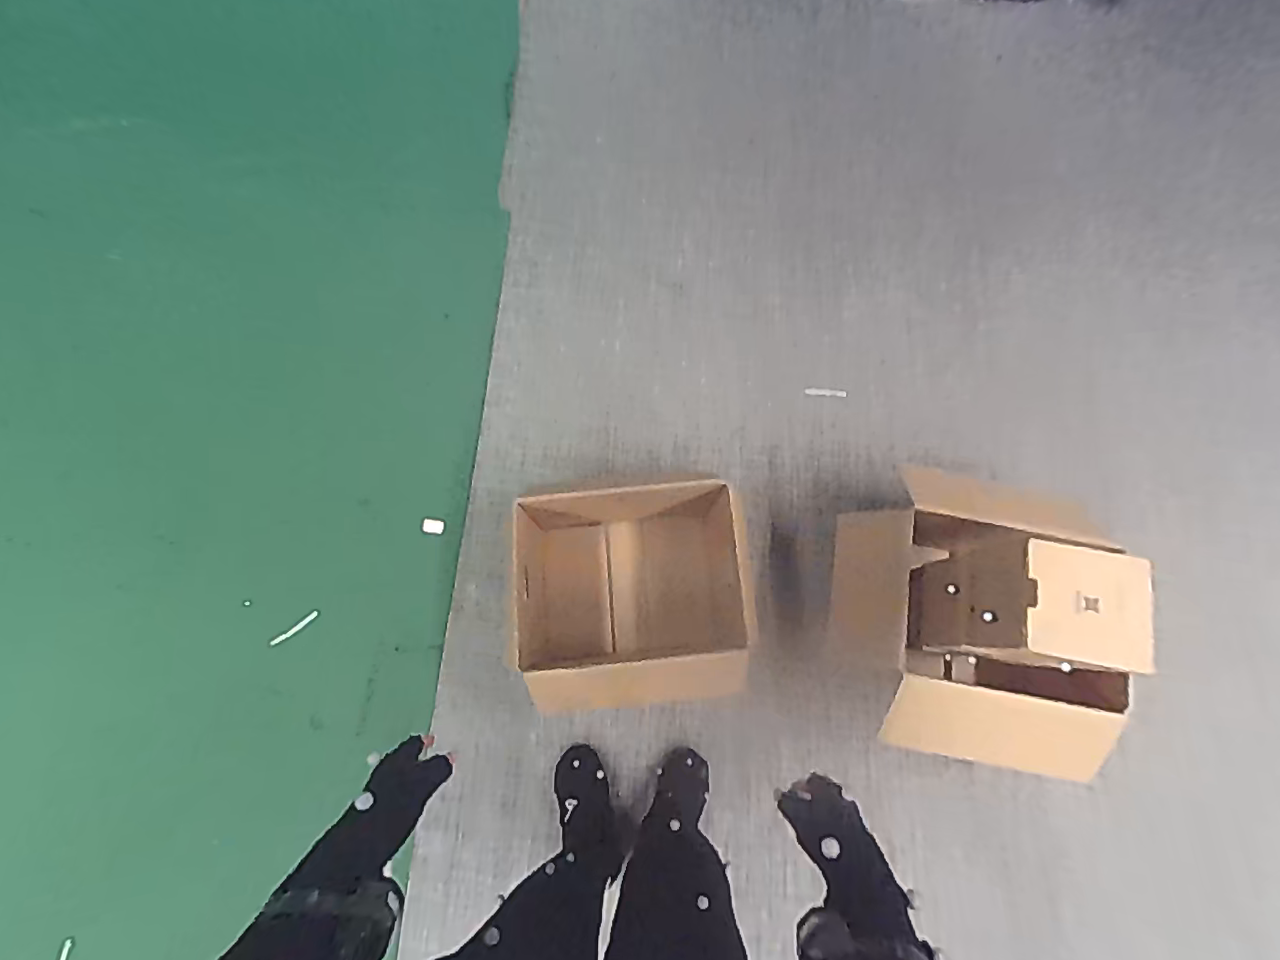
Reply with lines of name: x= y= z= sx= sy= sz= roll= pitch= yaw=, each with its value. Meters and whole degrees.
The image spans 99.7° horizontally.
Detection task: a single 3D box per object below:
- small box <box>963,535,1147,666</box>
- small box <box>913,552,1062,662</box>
small box: x=0.648 y=0.193 z=0.867 sx=0.179 sy=0.176 sz=0.168 roll=9 pitch=76 yaw=3
small box: x=0.648 y=0.240 z=1.022 sx=0.179 sy=0.176 sz=0.168 roll=9 pitch=74 yaw=3
